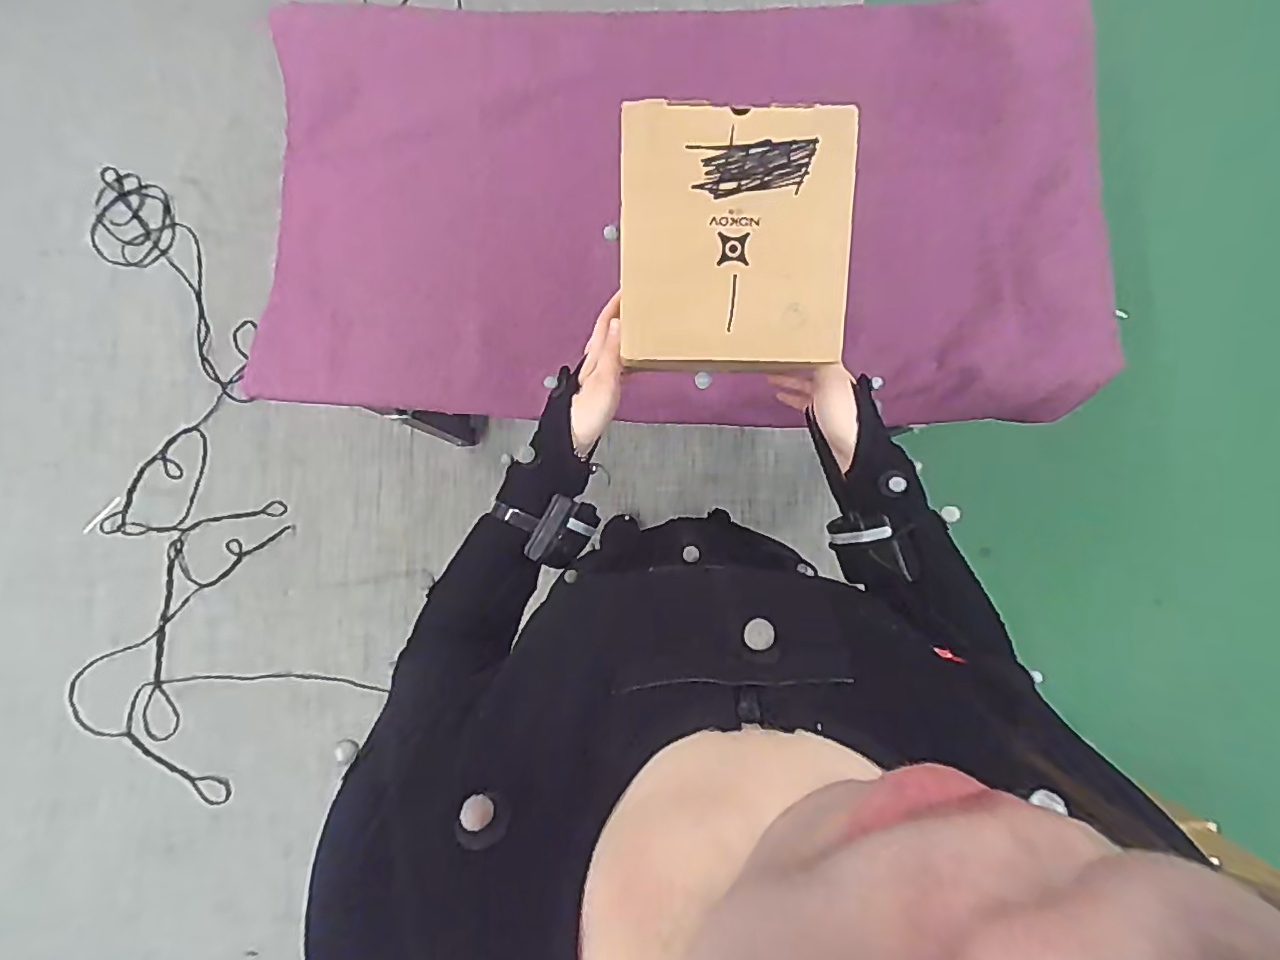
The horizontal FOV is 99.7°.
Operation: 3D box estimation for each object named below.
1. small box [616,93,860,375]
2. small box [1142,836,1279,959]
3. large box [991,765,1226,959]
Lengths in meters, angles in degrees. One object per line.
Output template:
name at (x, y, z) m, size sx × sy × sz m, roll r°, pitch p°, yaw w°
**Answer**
small box at (0.065, -0.182, 0.452) m, size 0.168 × 0.176 × 0.179 m, roll 1°, pitch 99°, yaw 0°
small box at (1.128, 0.818, 1.039) m, size 0.179 × 0.176 × 0.168 m, roll 2°, pitch 86°, yaw 1°
large box at (1.078, 0.942, 1.273) m, size 0.320 × 0.320 × 0.408 m, roll 2°, pitch 86°, yaw 2°
